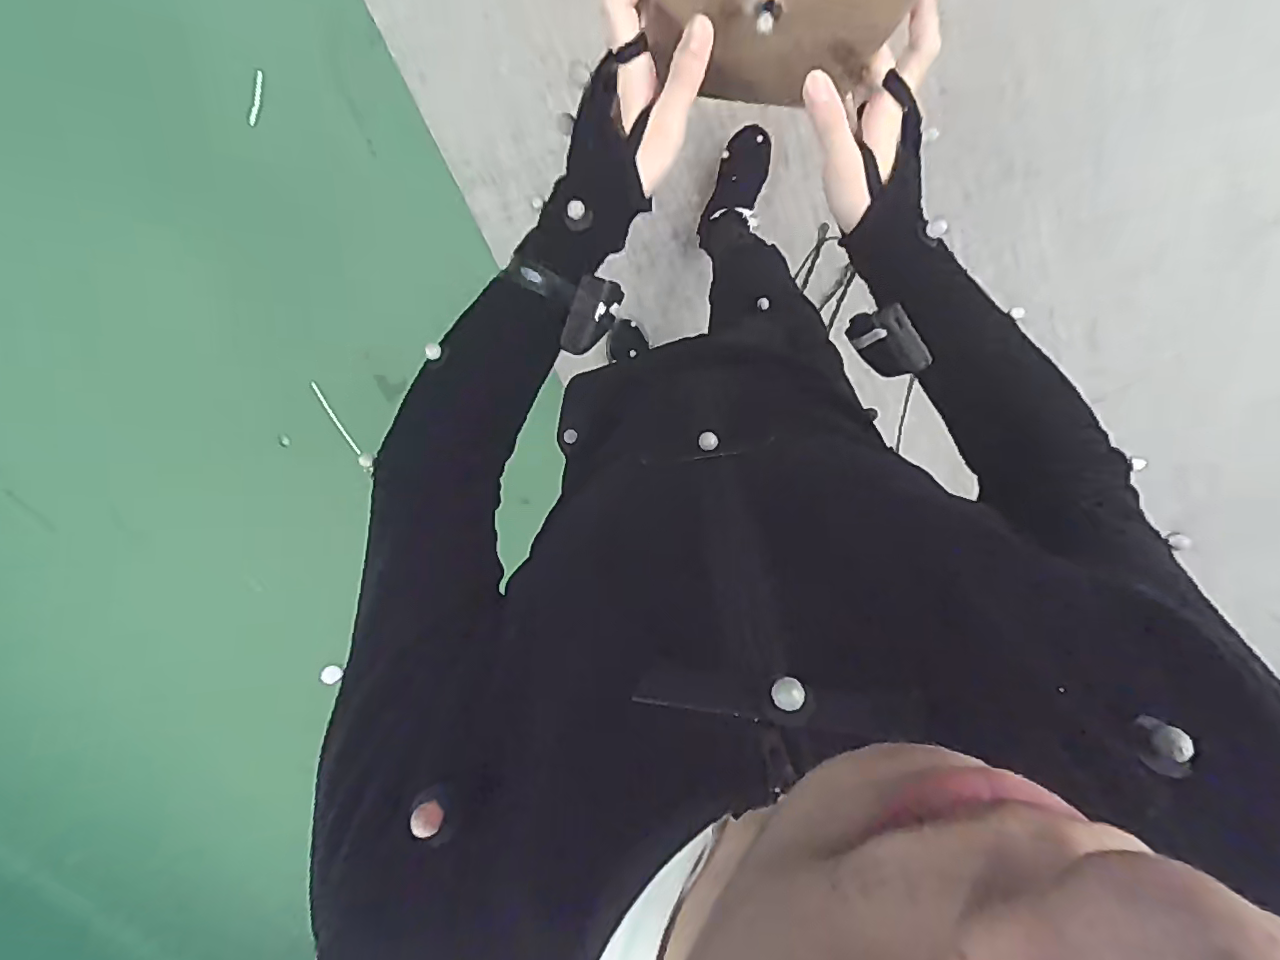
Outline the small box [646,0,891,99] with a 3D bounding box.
[{"bbox_3d":[0.099,-0.412,0.391,0.179,0.176,0.168,6,100,-2],"label":"small box"}]
